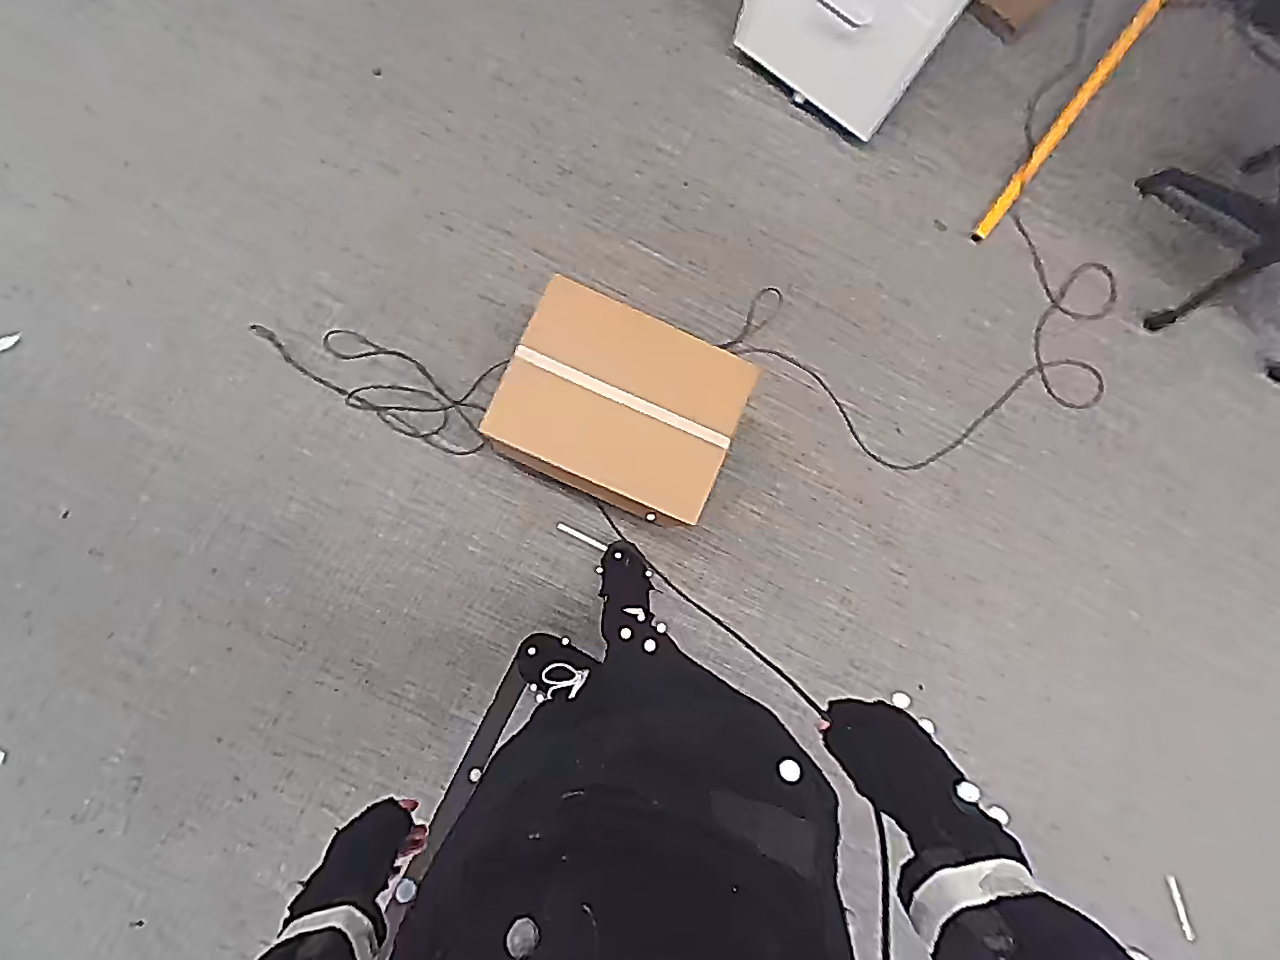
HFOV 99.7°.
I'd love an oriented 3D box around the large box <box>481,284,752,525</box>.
[{"bbox_3d":[-0.046,-0.122,1.094,0.408,0.320,0.320,23,83,-3],"label":"large box"}]
